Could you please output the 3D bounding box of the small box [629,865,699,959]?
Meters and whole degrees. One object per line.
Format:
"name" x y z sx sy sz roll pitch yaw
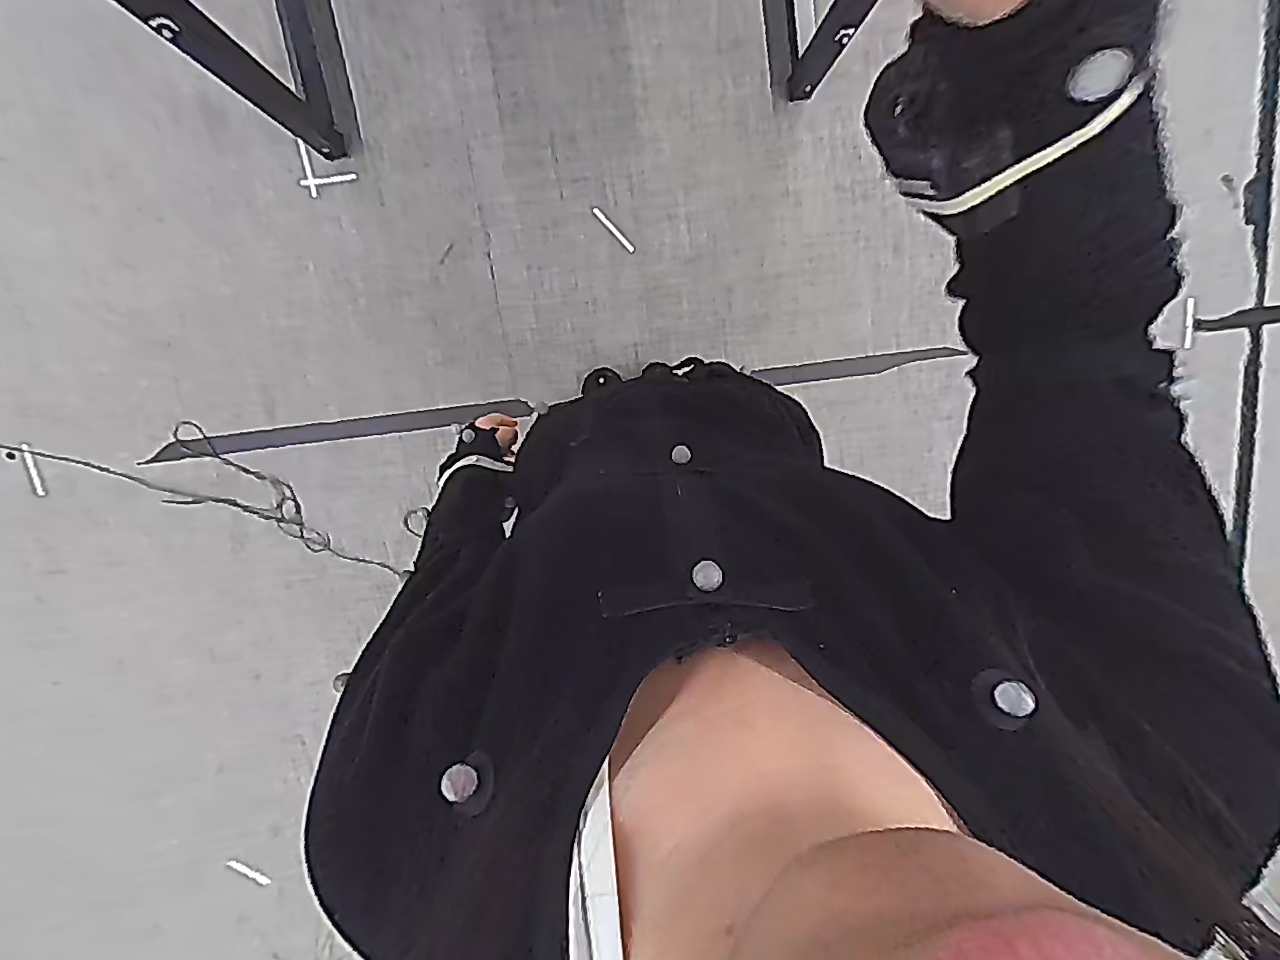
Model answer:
"small box" 0.061 1.186 1.471 0.168 0.176 0.179 -7 102 -2
